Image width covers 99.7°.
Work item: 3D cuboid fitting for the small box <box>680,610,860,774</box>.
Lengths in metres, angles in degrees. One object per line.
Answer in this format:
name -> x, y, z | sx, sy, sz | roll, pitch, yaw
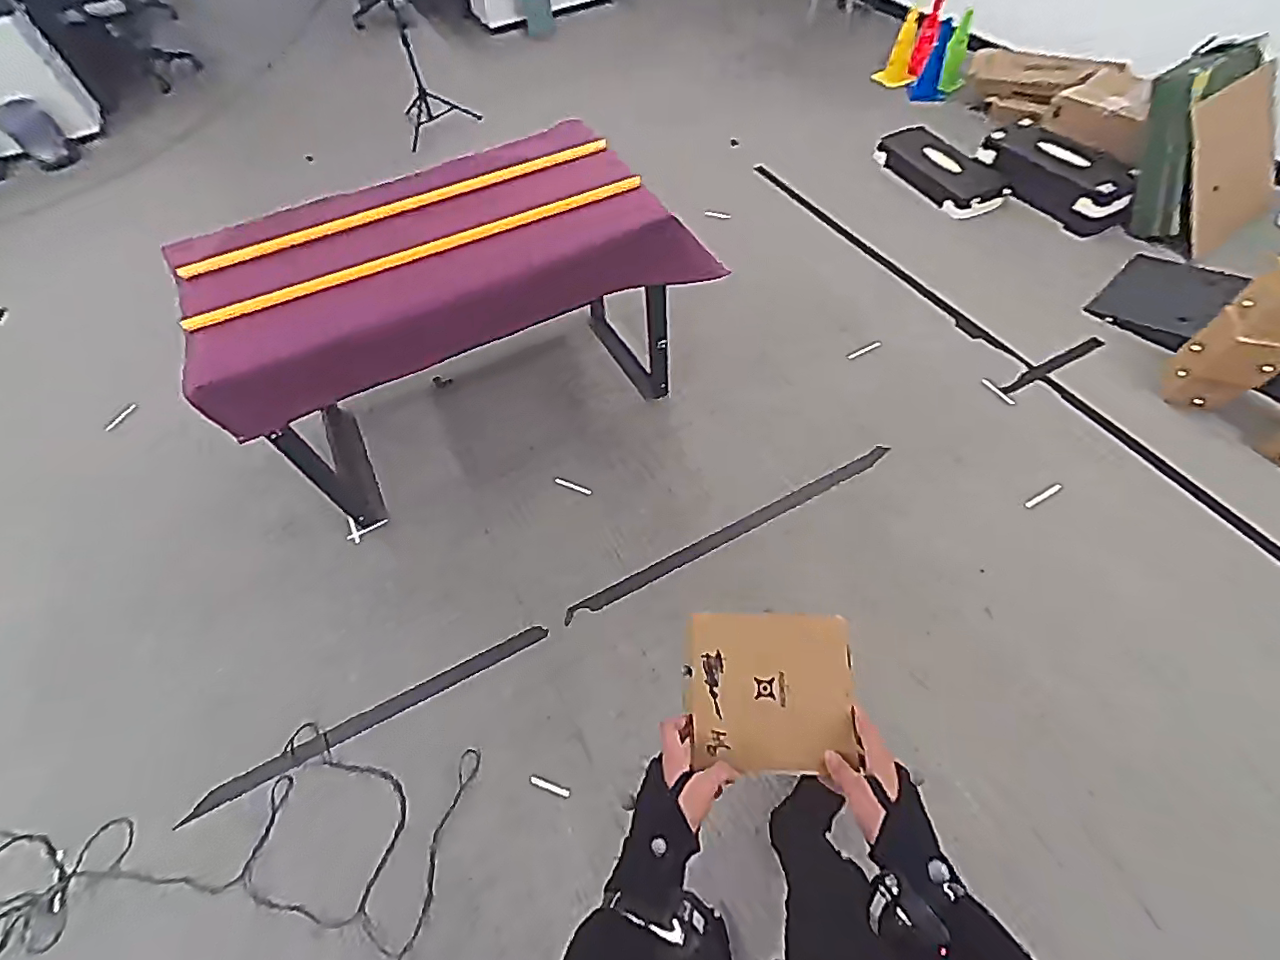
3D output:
small box -> 0.144, 0.251, 0.662 | 0.179, 0.176, 0.168 | 1, 71, 0
